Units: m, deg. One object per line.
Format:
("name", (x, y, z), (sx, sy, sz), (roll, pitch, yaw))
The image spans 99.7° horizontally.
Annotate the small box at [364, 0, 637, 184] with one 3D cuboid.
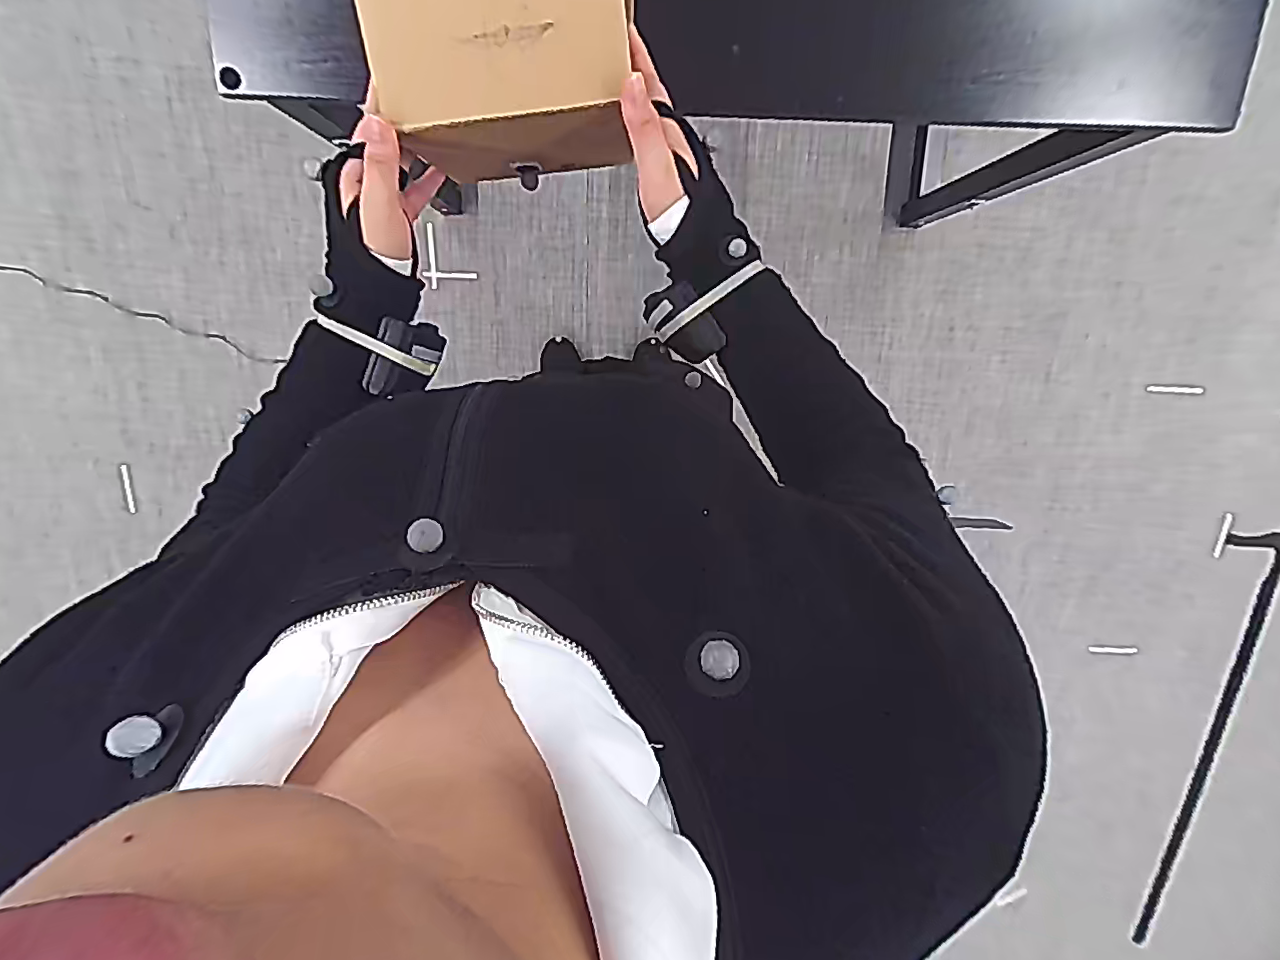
("small box", (-0.093, -0.344, 0.406), (0.168, 0.176, 0.179), (-6, 108, 2))
